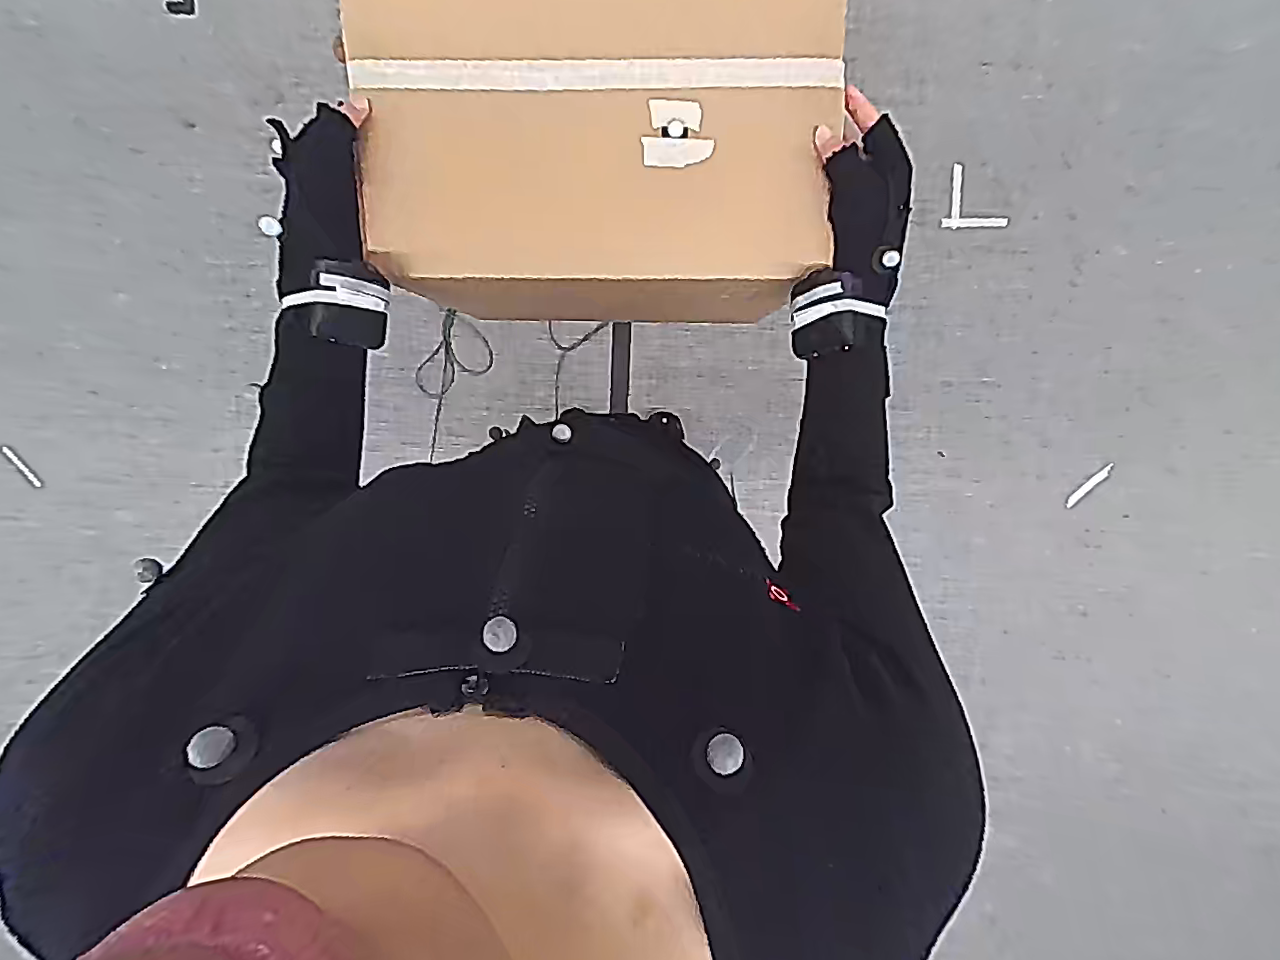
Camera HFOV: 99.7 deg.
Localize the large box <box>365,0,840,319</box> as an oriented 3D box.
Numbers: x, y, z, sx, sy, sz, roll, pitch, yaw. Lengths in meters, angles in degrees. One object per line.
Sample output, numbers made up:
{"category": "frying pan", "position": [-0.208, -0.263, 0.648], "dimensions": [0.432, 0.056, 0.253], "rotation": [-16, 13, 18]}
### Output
{"category": "large box", "position": [-0.033, -0.361, 0.608], "dimensions": [0.408, 0.320, 0.320], "rotation": [0, 101, 0]}
